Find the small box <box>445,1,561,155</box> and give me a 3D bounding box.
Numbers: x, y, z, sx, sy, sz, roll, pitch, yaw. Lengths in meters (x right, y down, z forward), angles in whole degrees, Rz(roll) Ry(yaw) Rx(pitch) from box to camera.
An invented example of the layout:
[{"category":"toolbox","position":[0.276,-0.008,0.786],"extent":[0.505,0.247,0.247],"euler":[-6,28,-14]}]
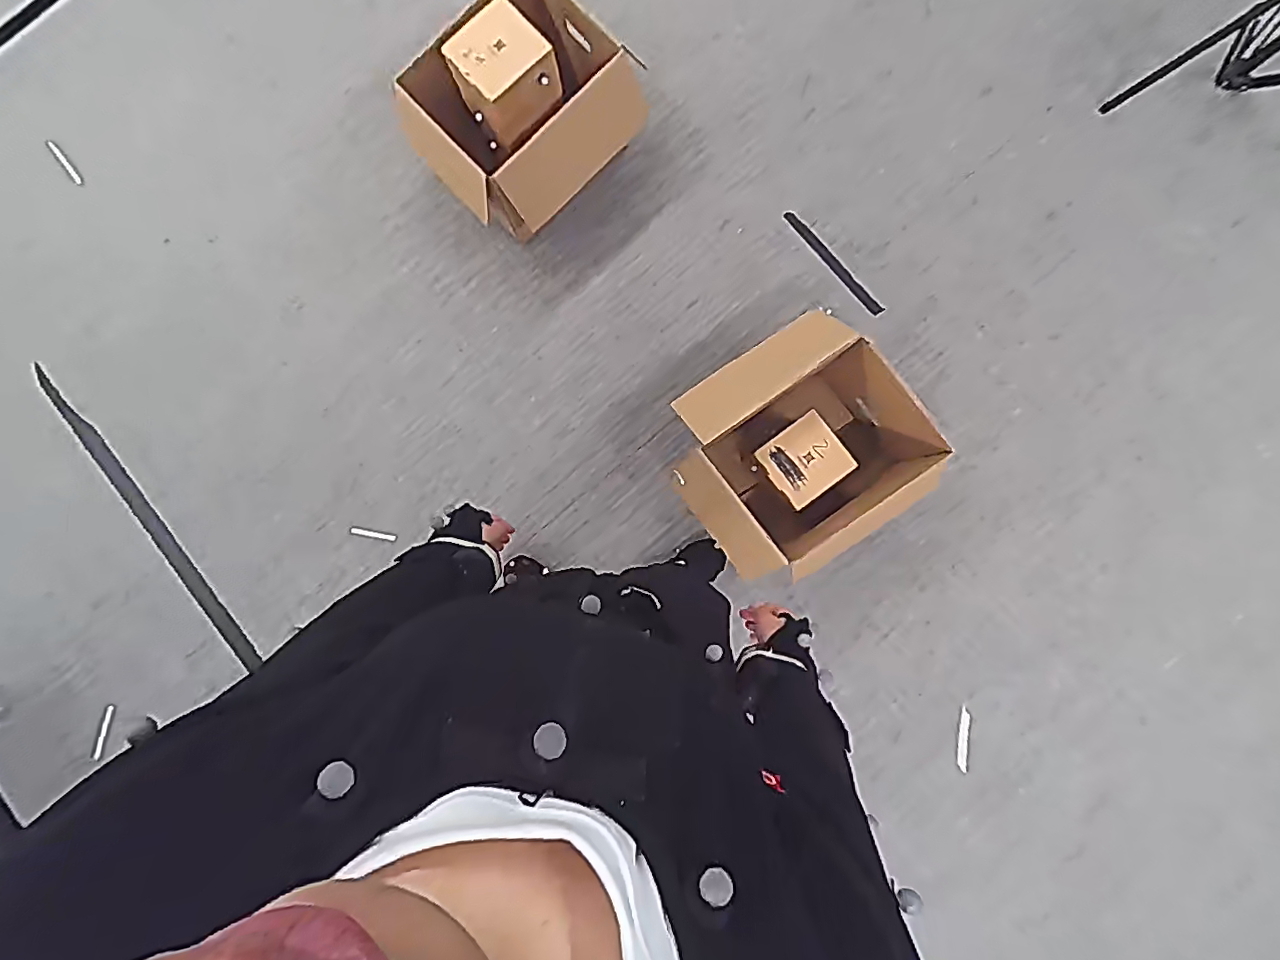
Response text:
[{"category":"small box","position":[-0.292,-0.883,1.205],"extent":[0.179,0.176,0.168],"euler":[-42,86,-1]}]
